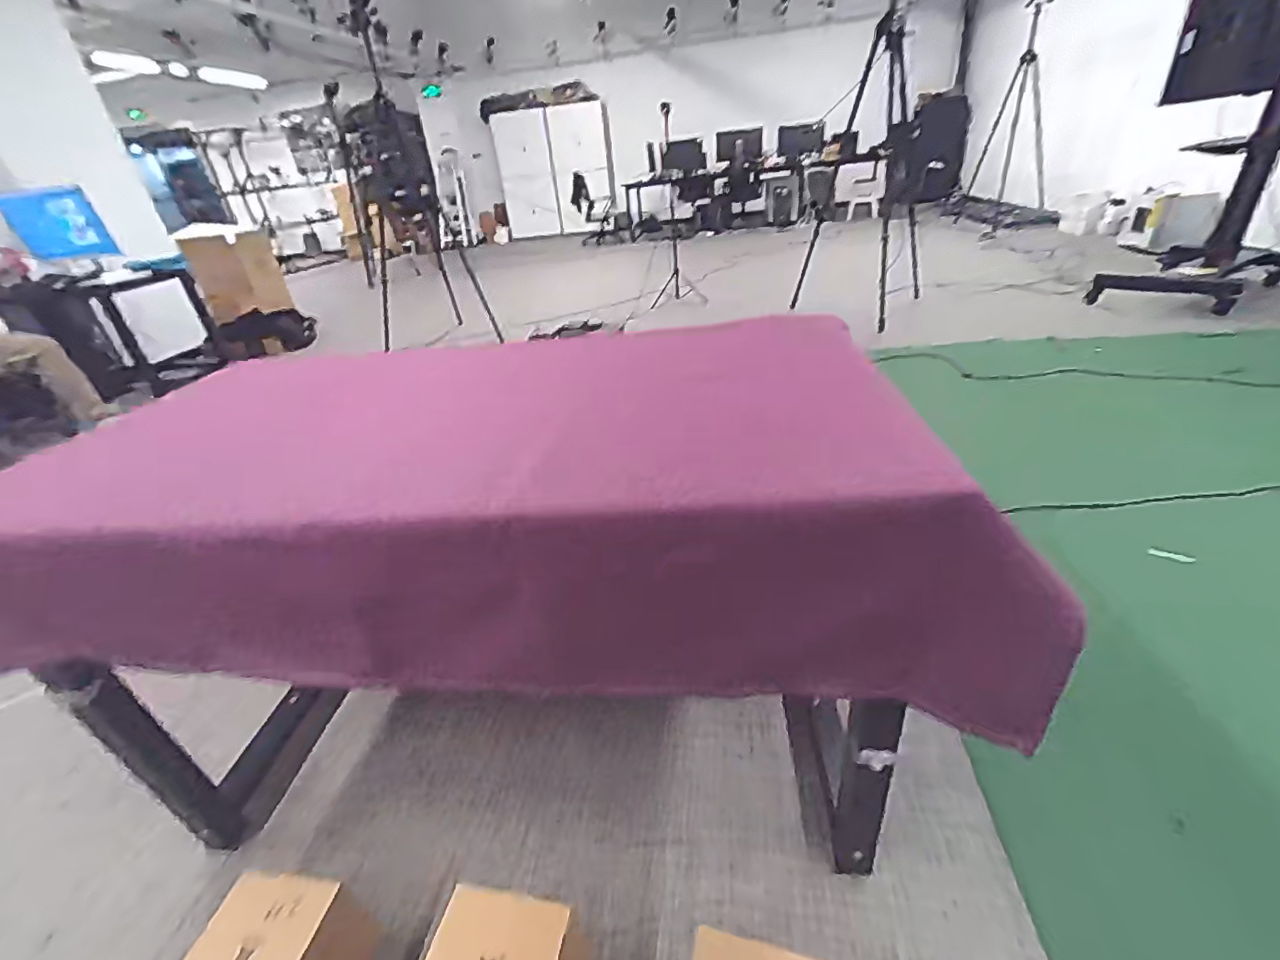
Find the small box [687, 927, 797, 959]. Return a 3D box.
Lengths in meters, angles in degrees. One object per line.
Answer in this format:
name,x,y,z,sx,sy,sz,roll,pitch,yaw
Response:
small box,0.129,0.693,0.642,0.168,0.176,0.179,4,31,17
